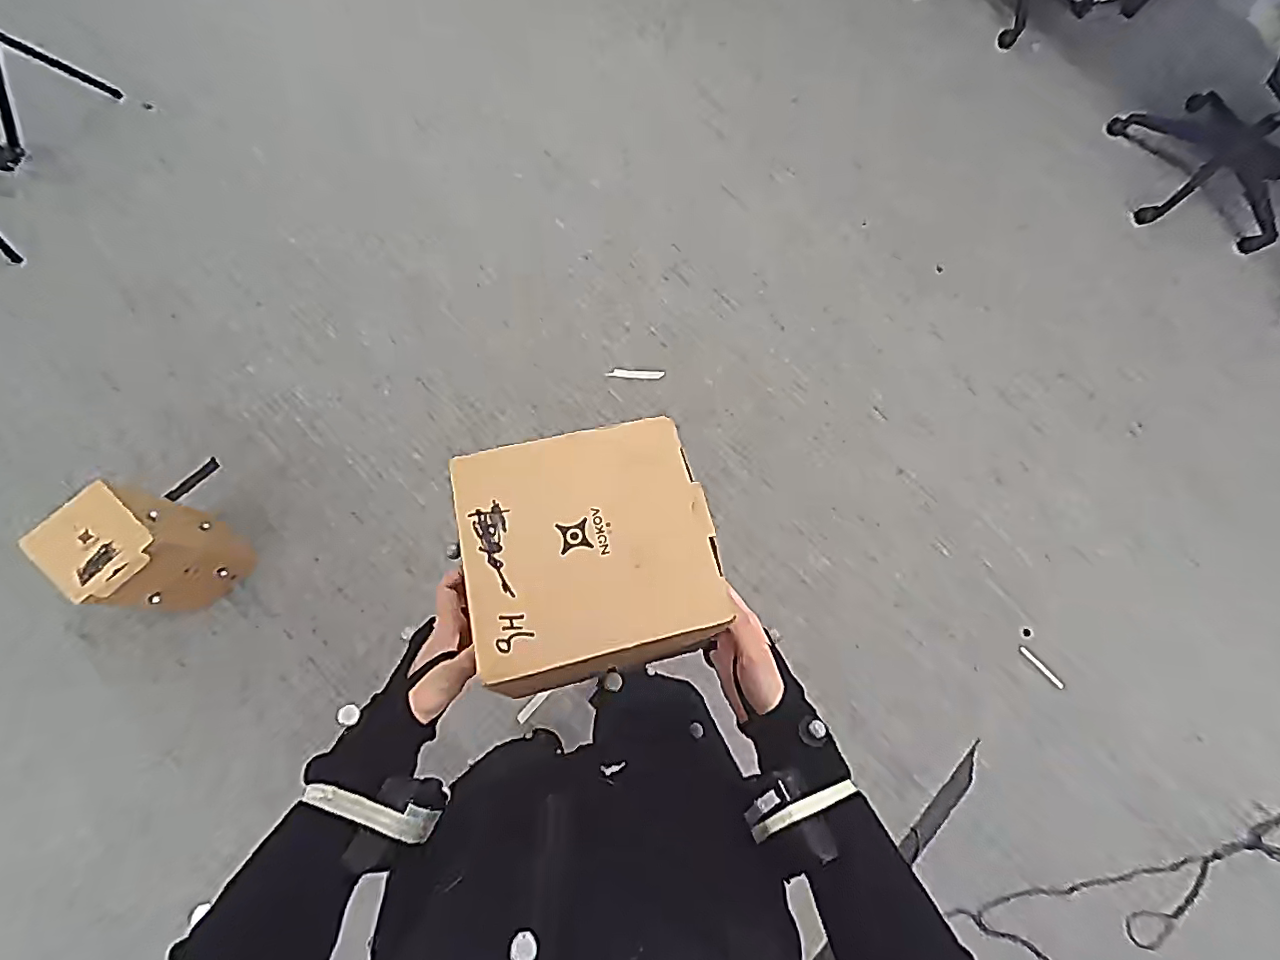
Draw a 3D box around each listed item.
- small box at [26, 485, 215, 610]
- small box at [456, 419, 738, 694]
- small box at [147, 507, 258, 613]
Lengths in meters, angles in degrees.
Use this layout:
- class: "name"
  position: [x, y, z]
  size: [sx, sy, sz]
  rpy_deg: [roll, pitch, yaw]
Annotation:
- class: "small box"
  position: [-1.013, 0.139, 1.075]
  size: [0.179, 0.176, 0.168]
  rpy_deg: [41, 76, 6]
- class: "small box"
  position: [-0.042, 0.072, 0.456]
  size: [0.179, 0.176, 0.168]
  rpy_deg: [-11, 66, -11]
- class: "small box"
  position: [-1.031, 0.184, 1.233]
  size: [0.179, 0.176, 0.168]
  rpy_deg: [40, 75, 7]
